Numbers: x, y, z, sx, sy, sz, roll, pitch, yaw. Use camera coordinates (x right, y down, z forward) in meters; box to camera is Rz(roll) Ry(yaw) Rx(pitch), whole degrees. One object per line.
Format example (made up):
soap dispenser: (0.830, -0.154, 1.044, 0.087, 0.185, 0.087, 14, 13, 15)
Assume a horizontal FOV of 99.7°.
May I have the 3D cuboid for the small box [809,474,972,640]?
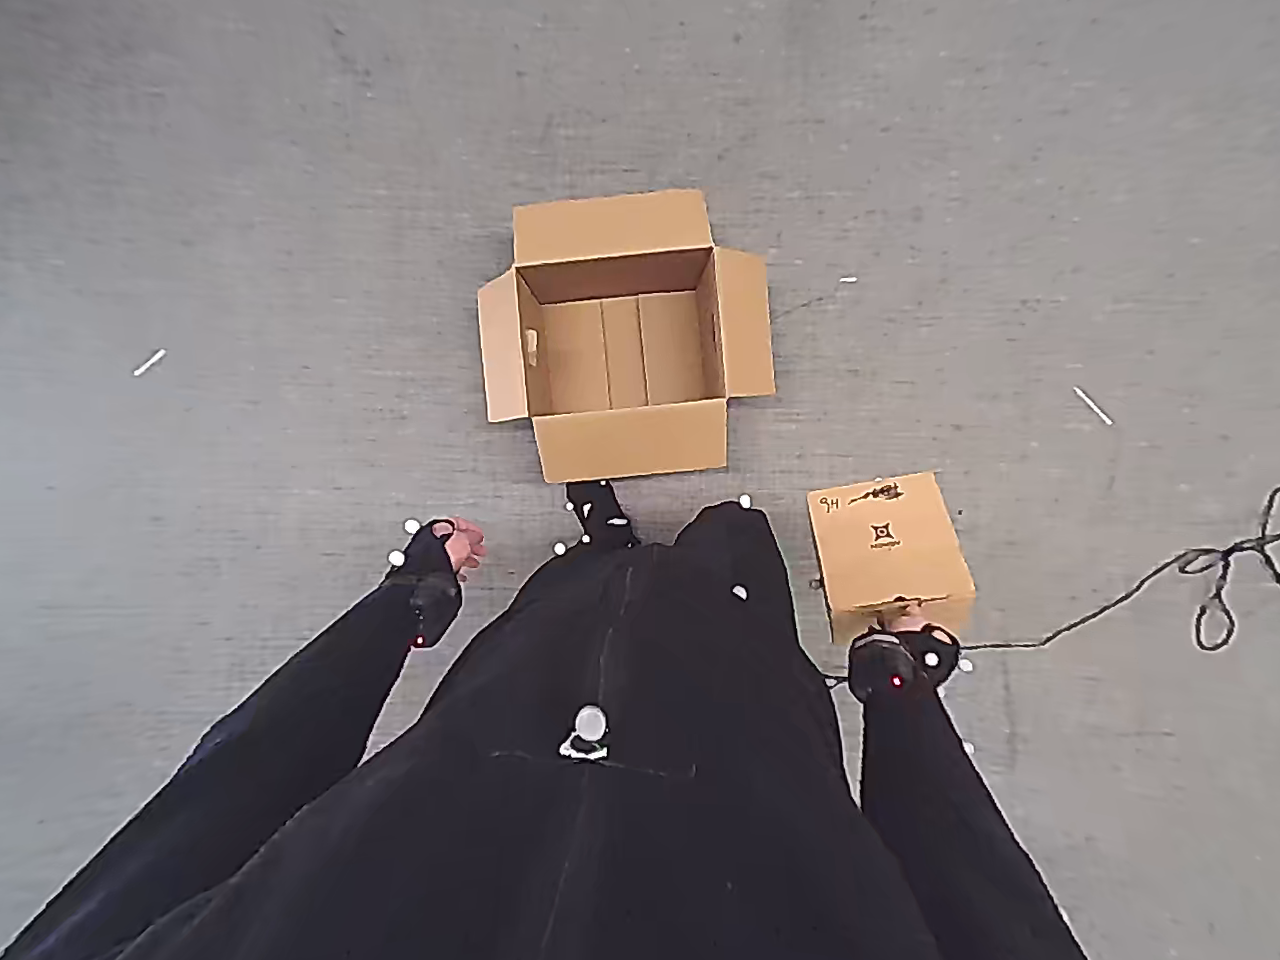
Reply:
small box: (0.339, 0.118, 0.756, 0.168, 0.176, 0.179, -10, 55, 16)
